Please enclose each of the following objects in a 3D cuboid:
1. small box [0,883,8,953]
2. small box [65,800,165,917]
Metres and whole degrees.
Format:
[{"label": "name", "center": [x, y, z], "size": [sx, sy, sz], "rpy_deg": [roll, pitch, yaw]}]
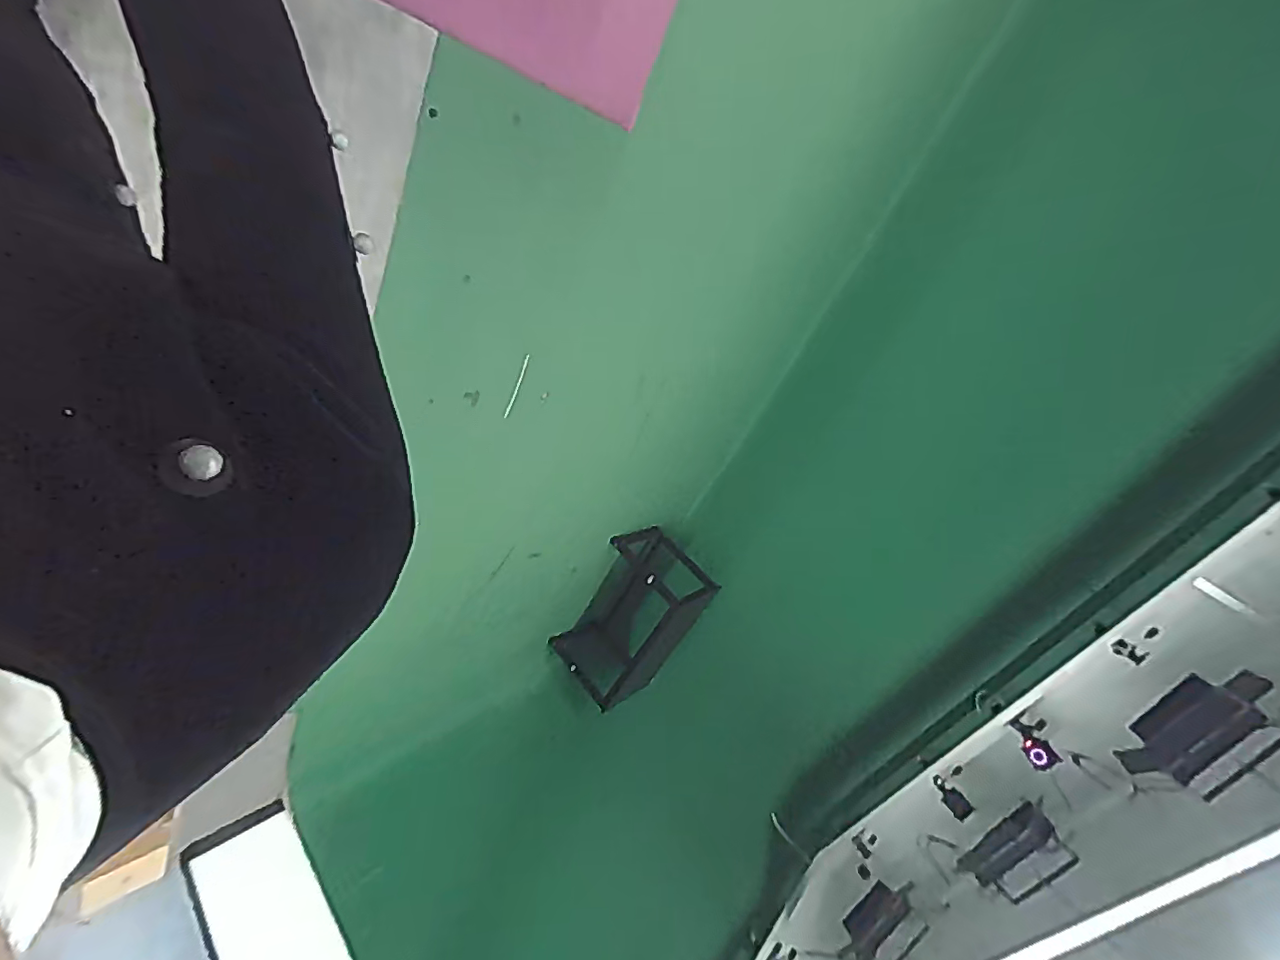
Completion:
[{"label": "small box", "center": [-1.584, 1.017, 1.228], "size": [0.168, 0.176, 0.179], "rpy_deg": [-3, 132, -56]}, {"label": "small box", "center": [-1.422, 1.009, 1.461], "size": [0.168, 0.176, 0.179], "rpy_deg": [-7, 133, -53]}]
